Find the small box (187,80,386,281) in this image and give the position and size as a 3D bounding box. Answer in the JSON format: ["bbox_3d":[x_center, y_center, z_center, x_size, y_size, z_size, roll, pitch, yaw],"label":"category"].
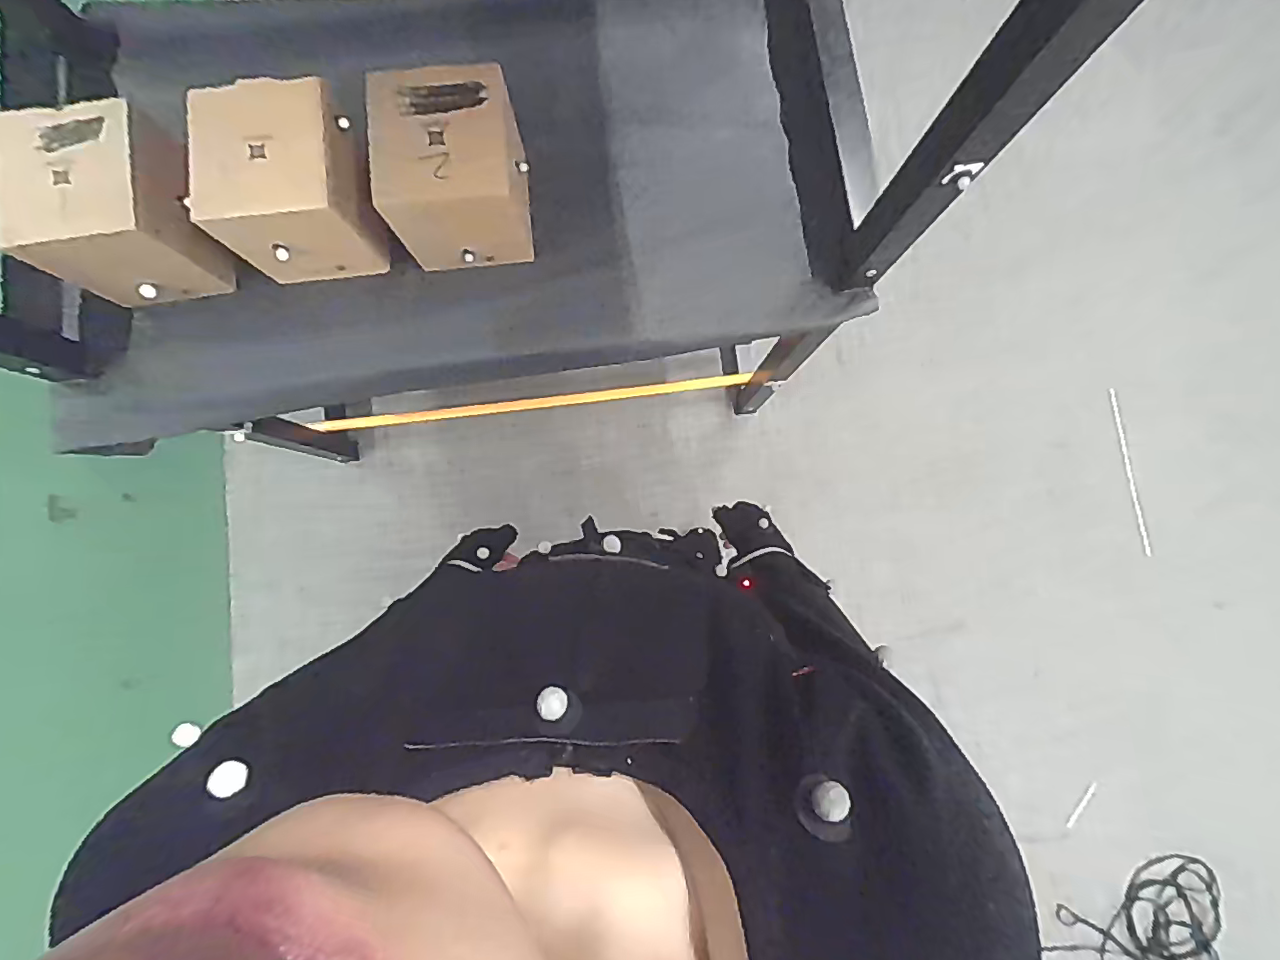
[{"bbox_3d":[-0.462,-0.387,0.731,0.168,0.176,0.179,-7,83,-2],"label":"small box"}]

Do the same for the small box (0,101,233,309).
[{"bbox_3d":[-0.686,-0.354,0.721,0.168,0.176,0.179,-9,84,-2],"label":"small box"}]
